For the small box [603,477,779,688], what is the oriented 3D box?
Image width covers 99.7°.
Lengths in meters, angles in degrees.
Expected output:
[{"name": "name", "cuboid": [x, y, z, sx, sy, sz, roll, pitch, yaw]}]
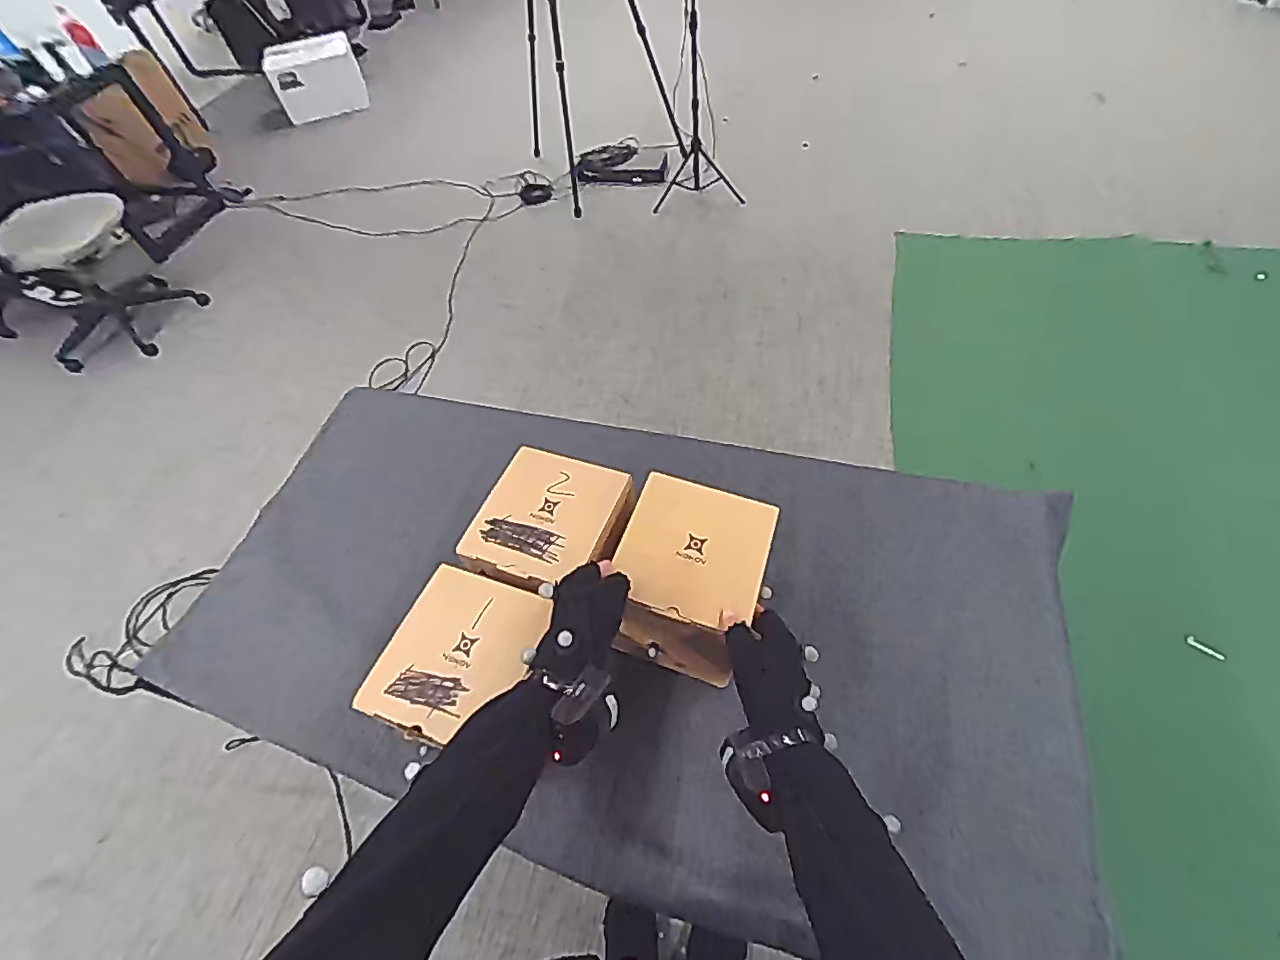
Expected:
[{"name": "small box", "cuboid": [0.061, 0.131, 0.681, 0.168, 0.176, 0.179, 17, 55, 12]}]
